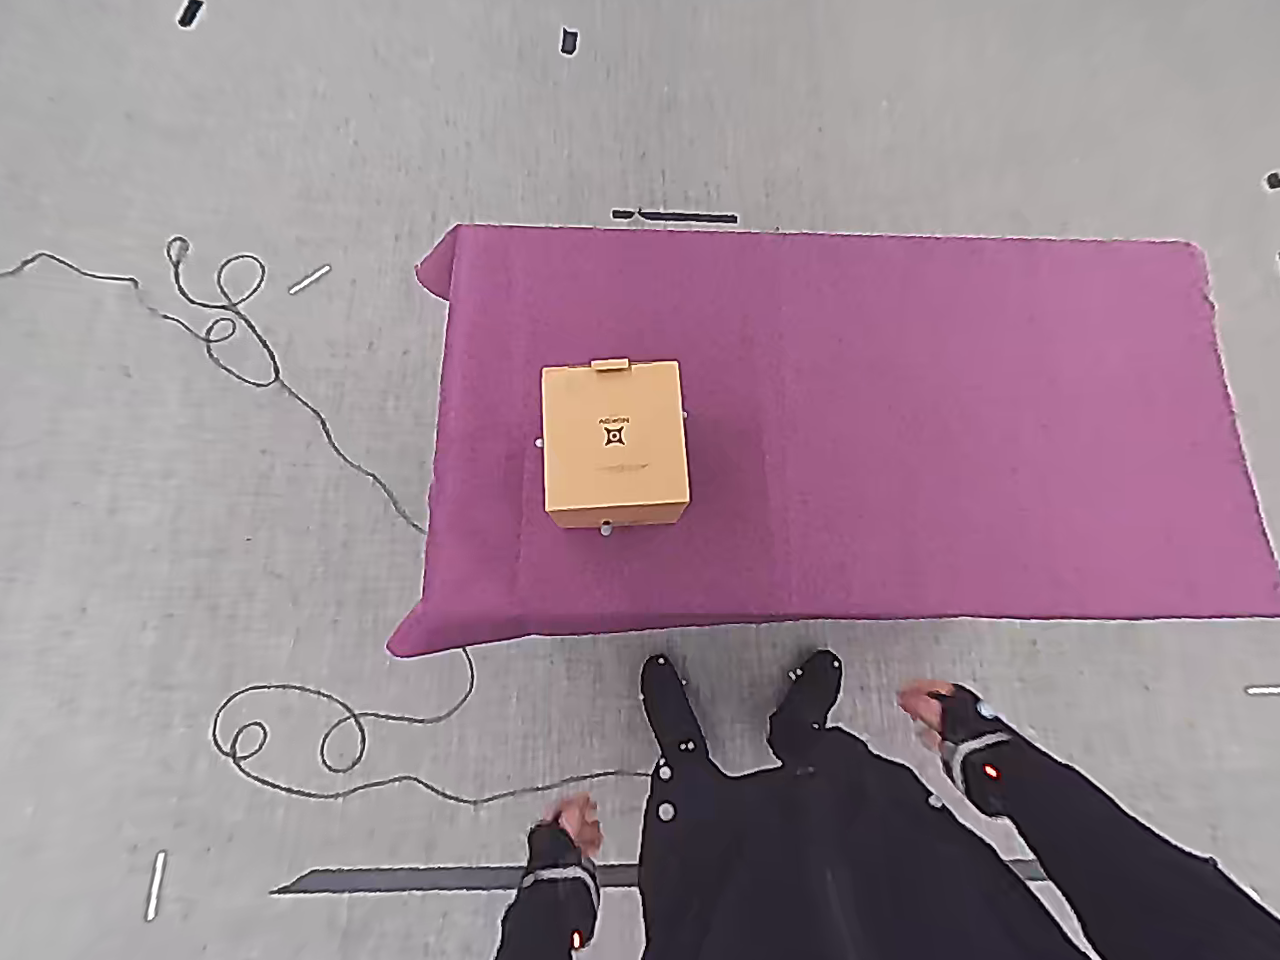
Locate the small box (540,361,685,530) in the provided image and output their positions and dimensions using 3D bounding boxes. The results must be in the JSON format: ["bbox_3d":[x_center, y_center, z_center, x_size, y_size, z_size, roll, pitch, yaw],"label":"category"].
[{"bbox_3d":[-0.036,-0.036,0.696,0.168,0.176,0.179,-3,77,-2],"label":"small box"}]
